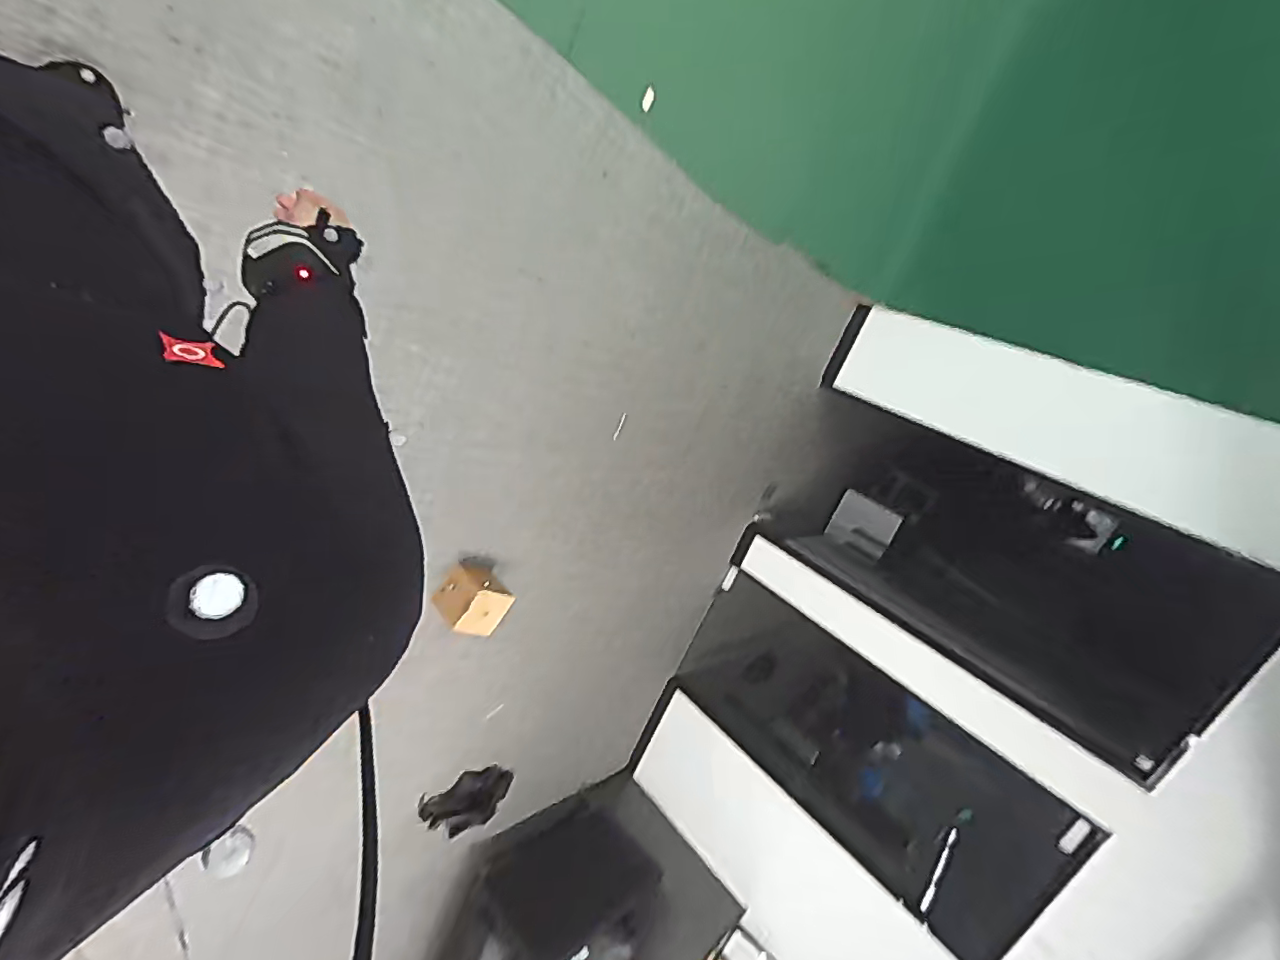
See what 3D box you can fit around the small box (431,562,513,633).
[{"bbox_3d":[-0.582,0.404,1.870,0.168,0.176,0.179,-55,144,0],"label":"small box"}]
